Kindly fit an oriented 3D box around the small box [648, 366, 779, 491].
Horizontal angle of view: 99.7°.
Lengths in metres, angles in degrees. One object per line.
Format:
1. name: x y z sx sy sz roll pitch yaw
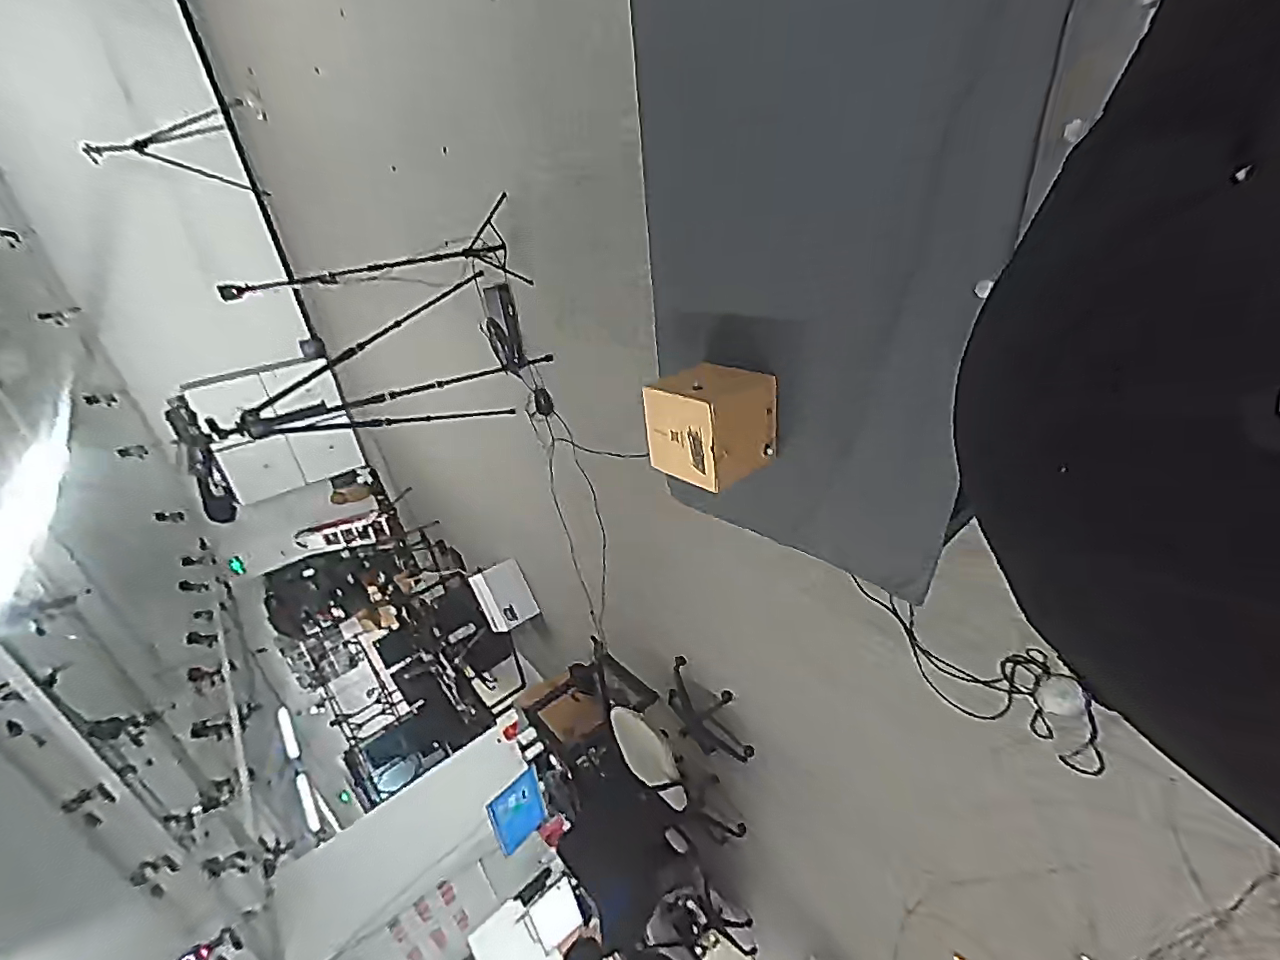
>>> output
1. small box: 0.141 -0.105 1.002 0.179 0.176 0.168 24 130 46
